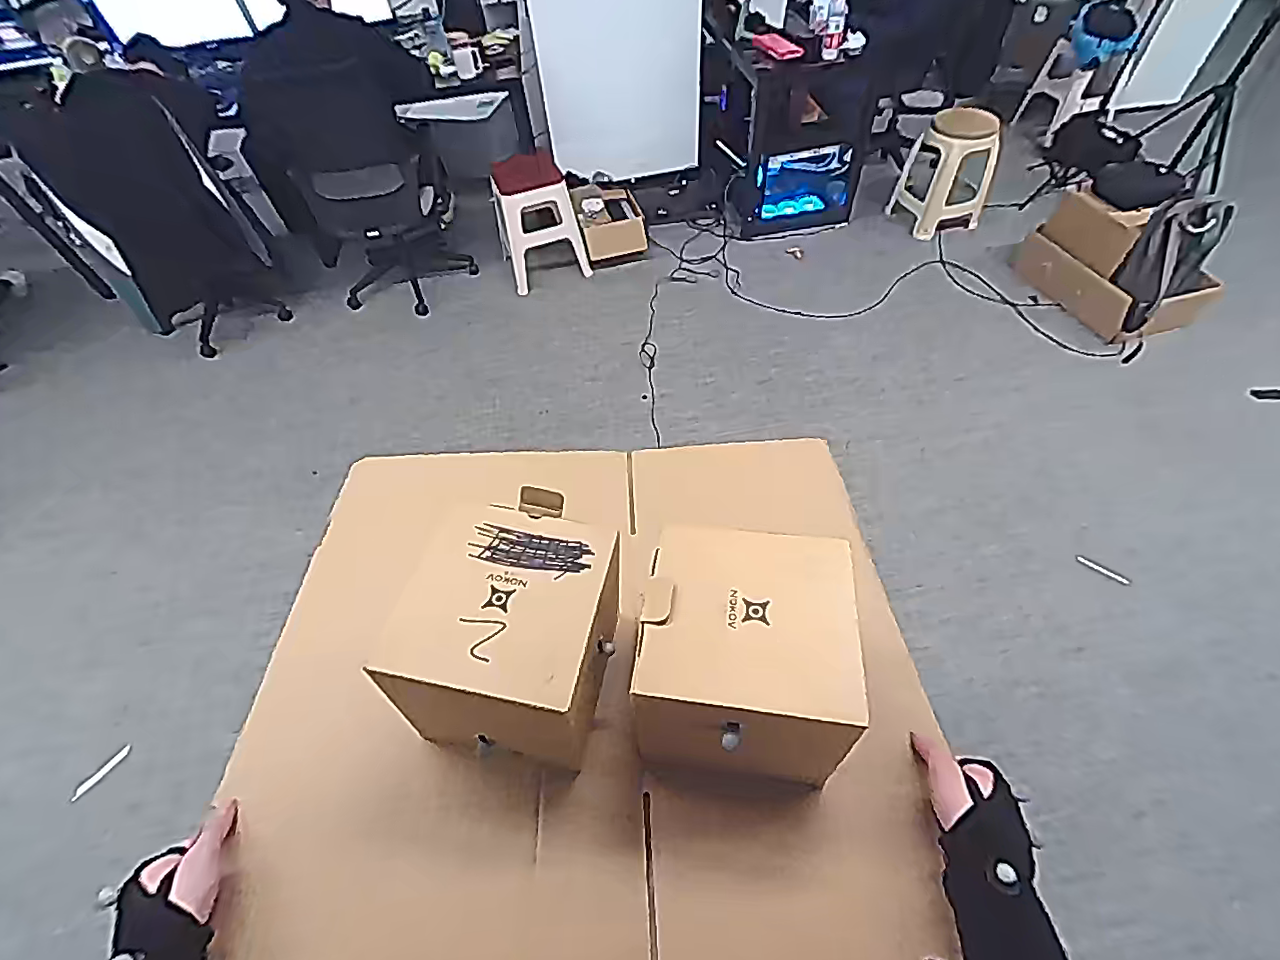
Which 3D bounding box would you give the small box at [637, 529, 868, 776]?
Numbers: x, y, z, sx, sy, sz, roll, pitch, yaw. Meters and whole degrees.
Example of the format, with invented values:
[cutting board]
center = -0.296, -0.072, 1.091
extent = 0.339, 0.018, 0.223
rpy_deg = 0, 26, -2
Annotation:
[small box]
center = 0.101, 0.168, 0.519
extent = 0.179, 0.176, 0.168
rpy_deg = 4, 49, 9
